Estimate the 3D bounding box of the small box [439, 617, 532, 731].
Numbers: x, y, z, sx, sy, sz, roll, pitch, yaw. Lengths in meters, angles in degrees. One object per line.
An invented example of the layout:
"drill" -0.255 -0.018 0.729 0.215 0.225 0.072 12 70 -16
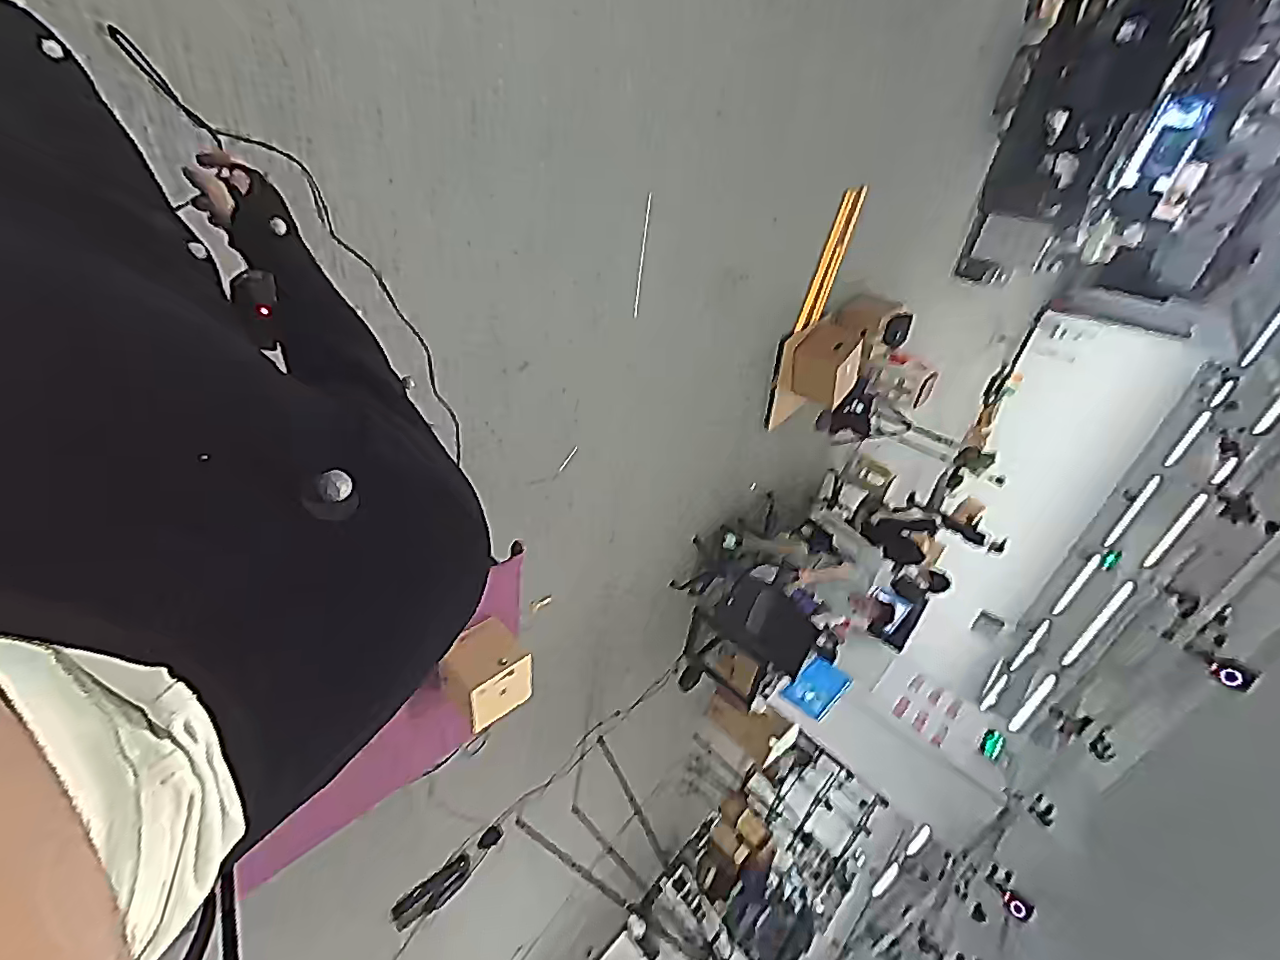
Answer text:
"small box" -0.393 0.488 1.378 0.168 0.176 0.179 -26 136 -40
